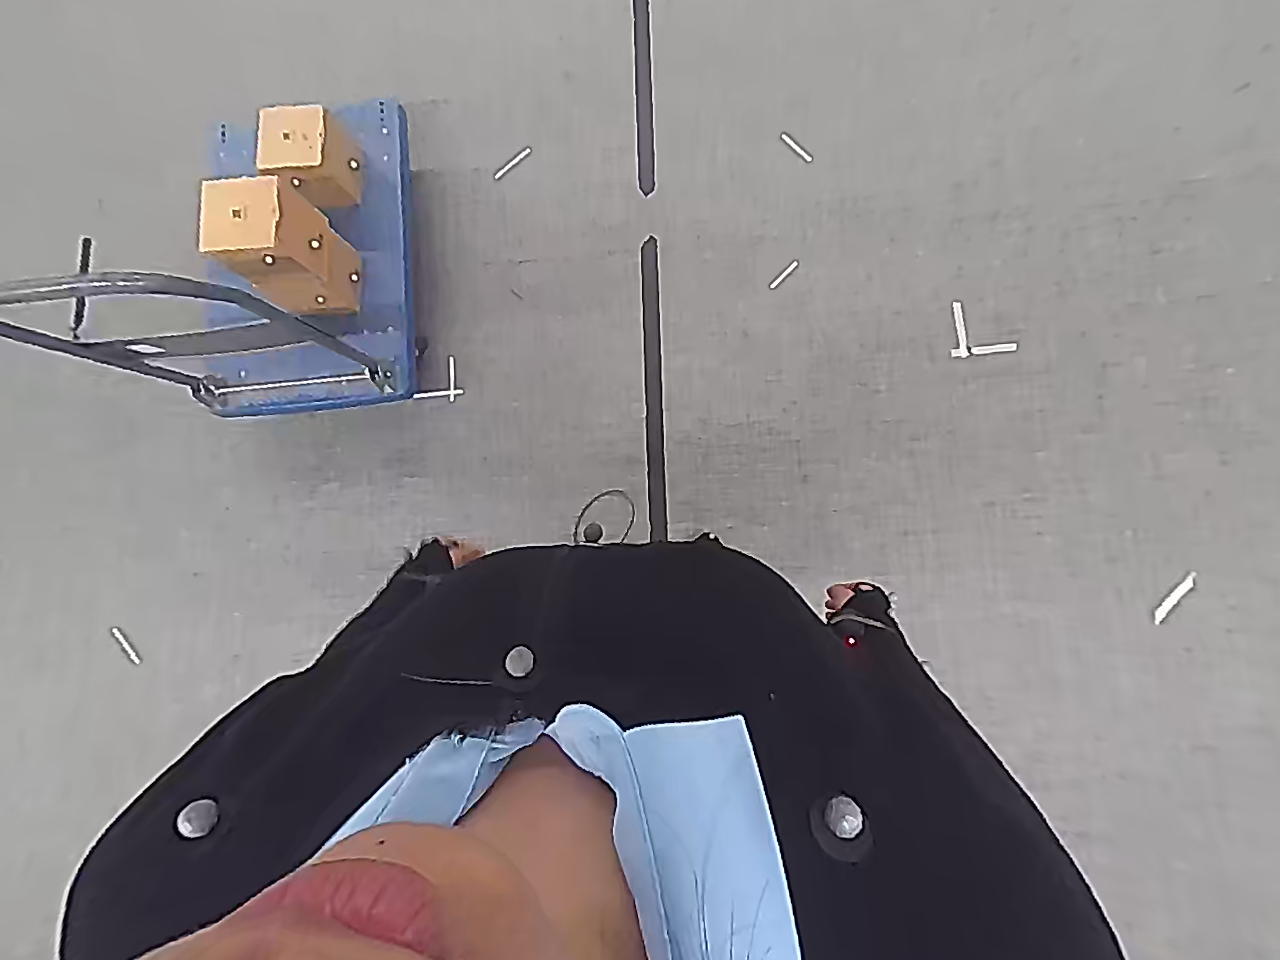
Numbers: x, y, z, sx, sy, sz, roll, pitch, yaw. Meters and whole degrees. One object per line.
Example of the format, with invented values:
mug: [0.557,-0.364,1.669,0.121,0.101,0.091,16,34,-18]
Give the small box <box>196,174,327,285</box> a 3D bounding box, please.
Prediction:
small box: [-0.848,-0.558,1.223,0.179,0.176,0.168,-3,84,3]

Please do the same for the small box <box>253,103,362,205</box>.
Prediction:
small box: [-0.865,-0.845,1.418,0.179,0.176,0.168,-1,85,4]
